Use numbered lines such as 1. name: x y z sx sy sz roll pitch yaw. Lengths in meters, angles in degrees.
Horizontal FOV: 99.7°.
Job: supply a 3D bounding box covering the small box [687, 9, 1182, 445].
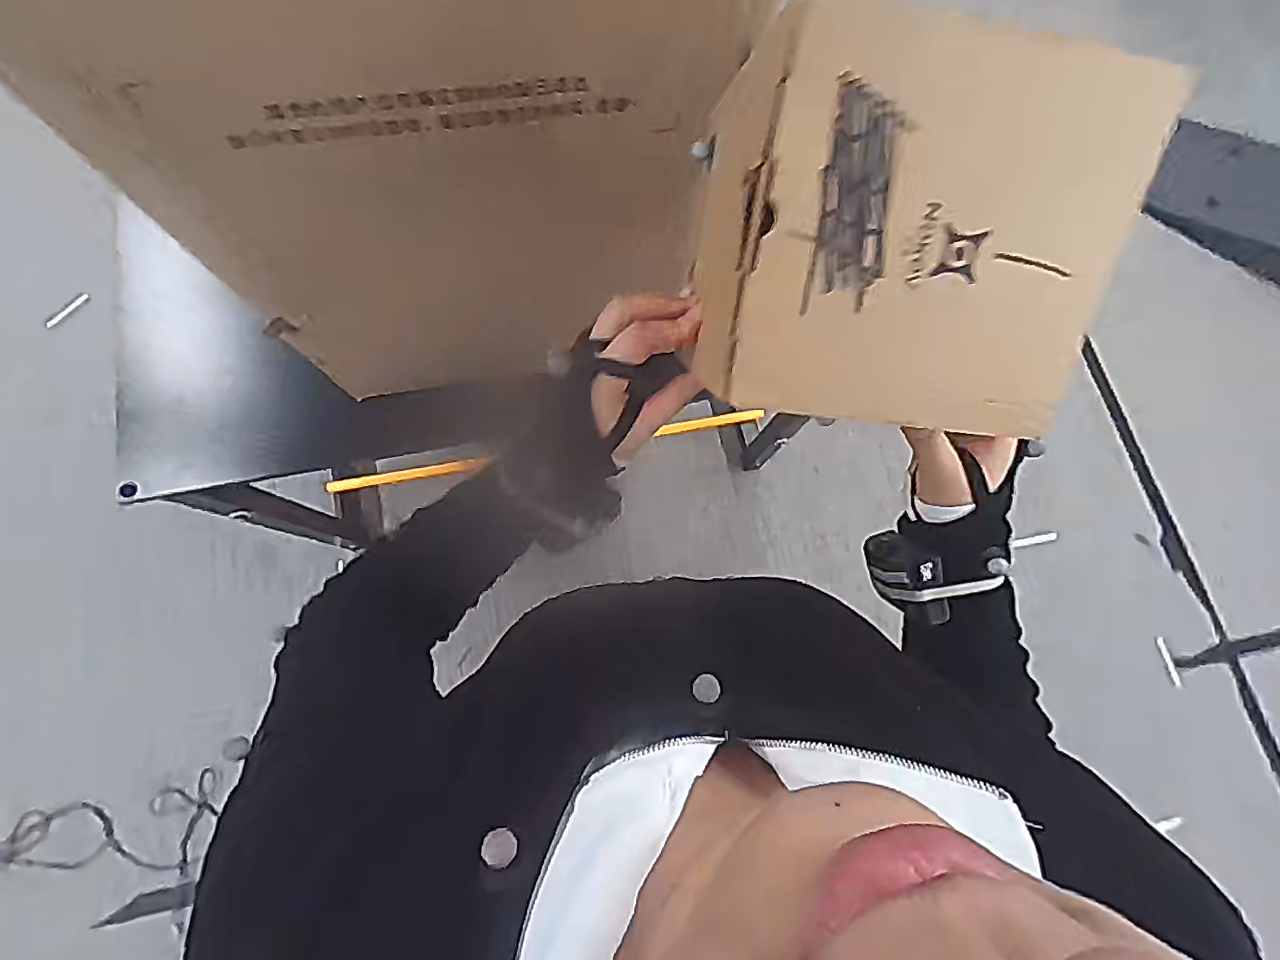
1. small box: 0.132 -0.130 0.324 0.179 0.176 0.168 6 110 -7
